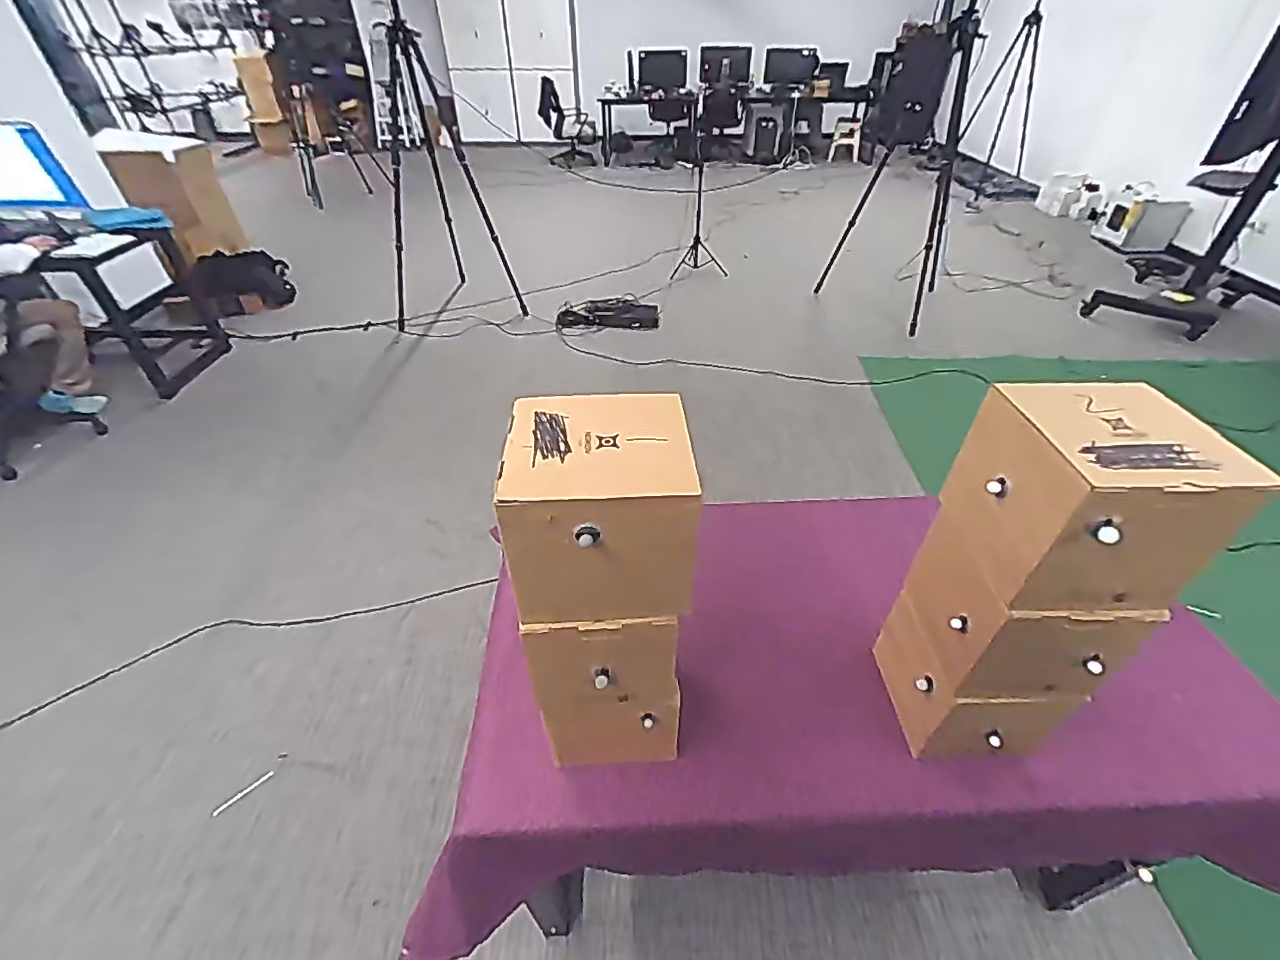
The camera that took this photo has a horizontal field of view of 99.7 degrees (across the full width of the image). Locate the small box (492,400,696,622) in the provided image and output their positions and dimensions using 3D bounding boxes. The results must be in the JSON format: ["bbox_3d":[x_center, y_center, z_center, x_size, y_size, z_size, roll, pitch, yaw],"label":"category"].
[{"bbox_3d":[-0.040,0.032,0.563,0.179,0.176,0.168,-2,39,-3],"label":"small box"}]

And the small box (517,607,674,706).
[{"bbox_3d":[-0.048,0.162,0.665,0.168,0.176,0.179,-2,40,-3],"label":"small box"}]

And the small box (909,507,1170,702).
[{"bbox_3d":[0.459,0.151,0.661,0.168,0.176,0.179,1,39,2],"label":"small box"}]

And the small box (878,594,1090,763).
[{"bbox_3d":[0.462,0.280,0.762,0.168,0.176,0.179,-1,39,1],"label":"small box"}]

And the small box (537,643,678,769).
[{"bbox_3d":[-0.041,0.291,0.767,0.179,0.176,0.168,-2,39,-2],"label":"small box"}]
